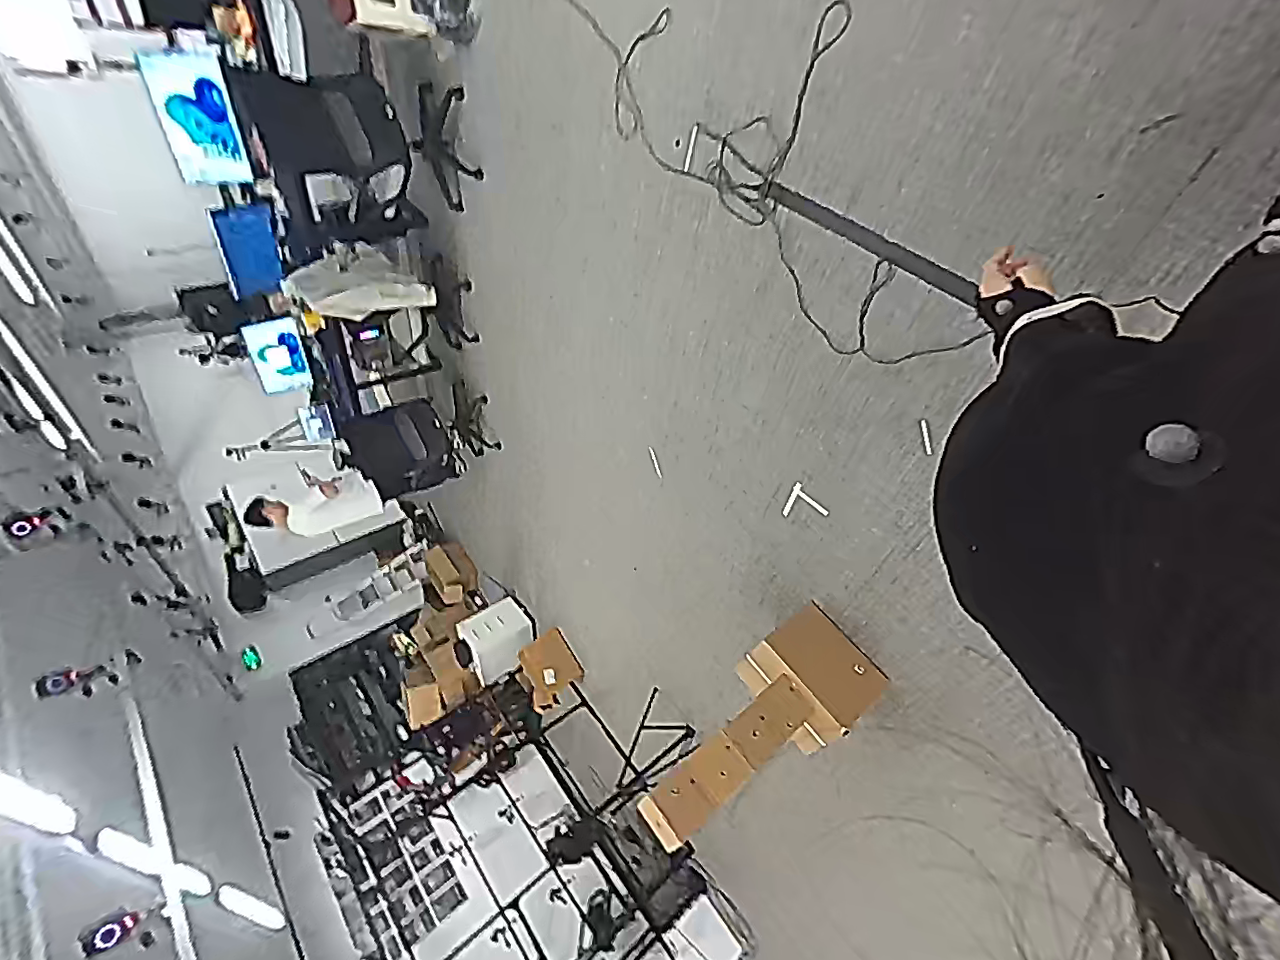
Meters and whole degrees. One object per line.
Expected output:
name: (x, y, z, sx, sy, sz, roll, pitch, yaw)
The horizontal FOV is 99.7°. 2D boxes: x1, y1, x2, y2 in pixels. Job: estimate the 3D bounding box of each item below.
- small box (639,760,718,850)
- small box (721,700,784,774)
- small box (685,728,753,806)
small box: (0.124, 1.019, 1.706, 0.168, 0.176, 0.179, 47, 146, 26)
small box: (0.372, 0.899, 1.878, 0.168, 0.176, 0.179, 48, 144, 23)
small box: (0.248, 0.955, 1.789, 0.168, 0.176, 0.179, 46, 144, 25)
